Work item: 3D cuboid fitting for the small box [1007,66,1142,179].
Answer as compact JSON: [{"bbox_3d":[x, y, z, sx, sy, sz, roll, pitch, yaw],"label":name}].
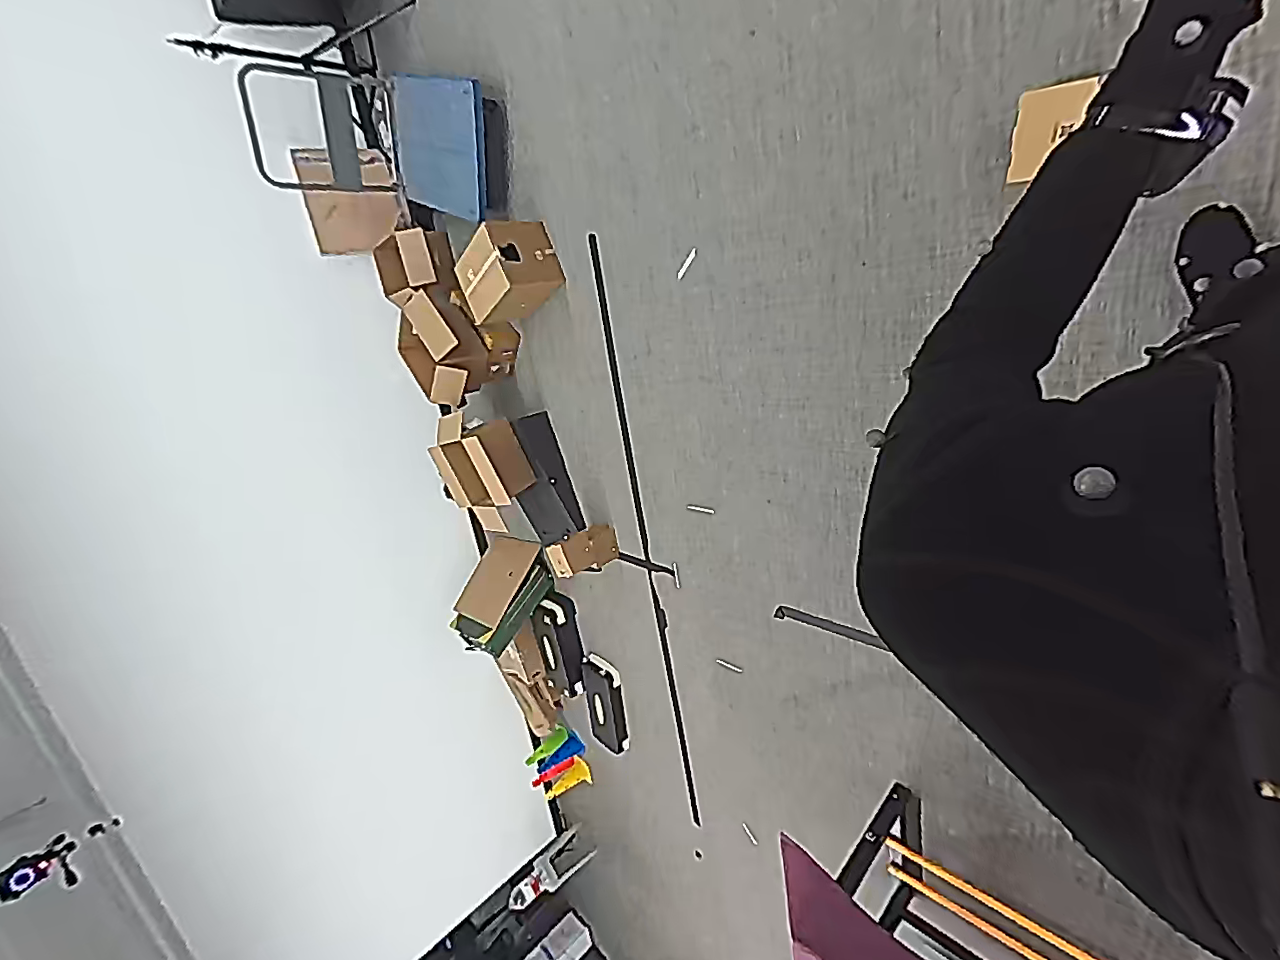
[{"bbox_3d":[0.900,-0.730,1.121,0.179,0.176,0.168,19,123,44],"label":"small box"}]
